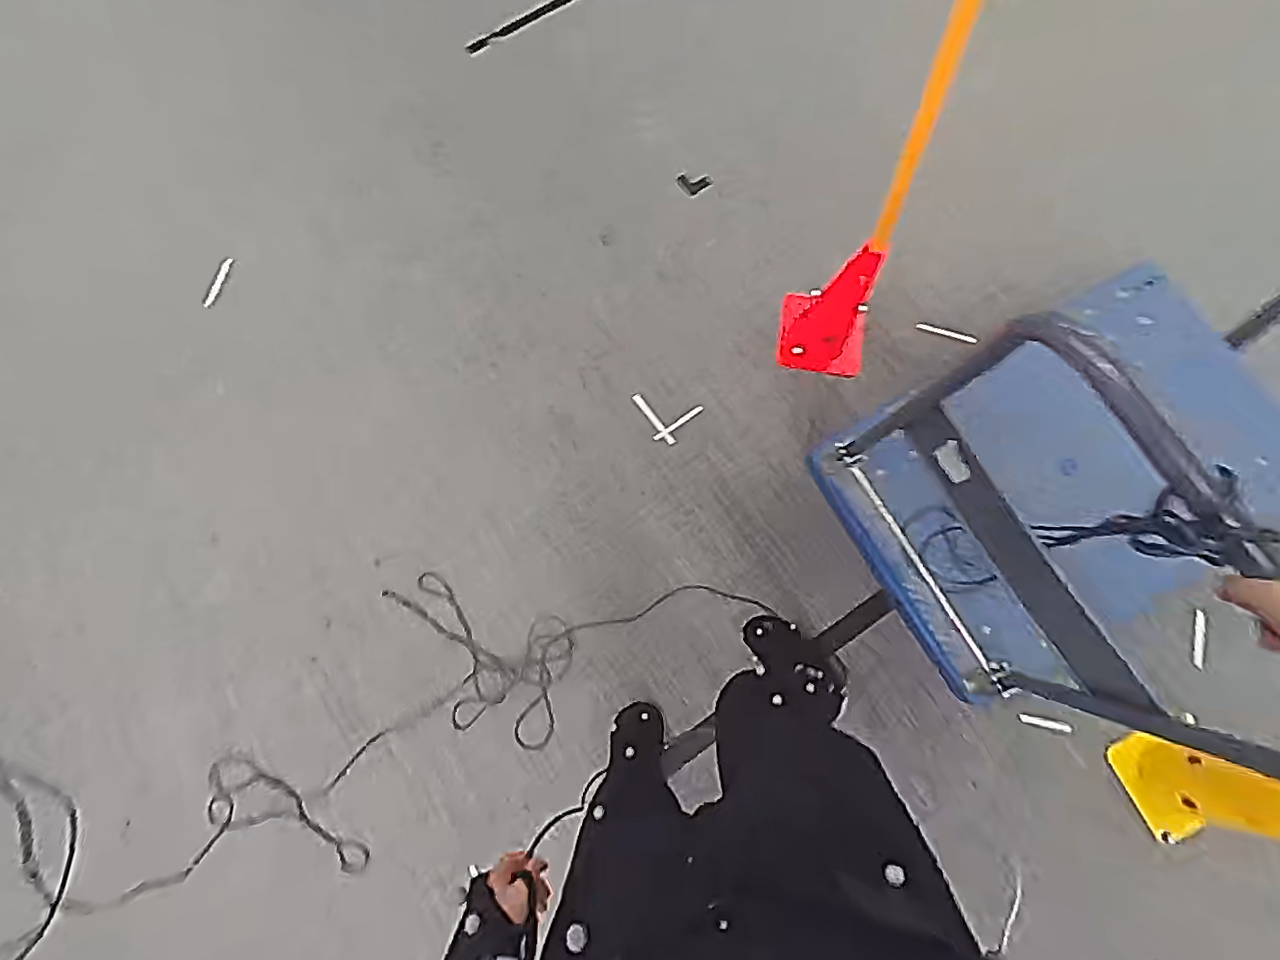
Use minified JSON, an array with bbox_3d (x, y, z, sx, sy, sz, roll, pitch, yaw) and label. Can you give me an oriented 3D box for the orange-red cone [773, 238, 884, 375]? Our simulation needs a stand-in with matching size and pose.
[{"bbox_3d":[0.434,-0.395,1.162,0.199,0.360,0.198,10,79,2],"label":"orange-red cone"}]
